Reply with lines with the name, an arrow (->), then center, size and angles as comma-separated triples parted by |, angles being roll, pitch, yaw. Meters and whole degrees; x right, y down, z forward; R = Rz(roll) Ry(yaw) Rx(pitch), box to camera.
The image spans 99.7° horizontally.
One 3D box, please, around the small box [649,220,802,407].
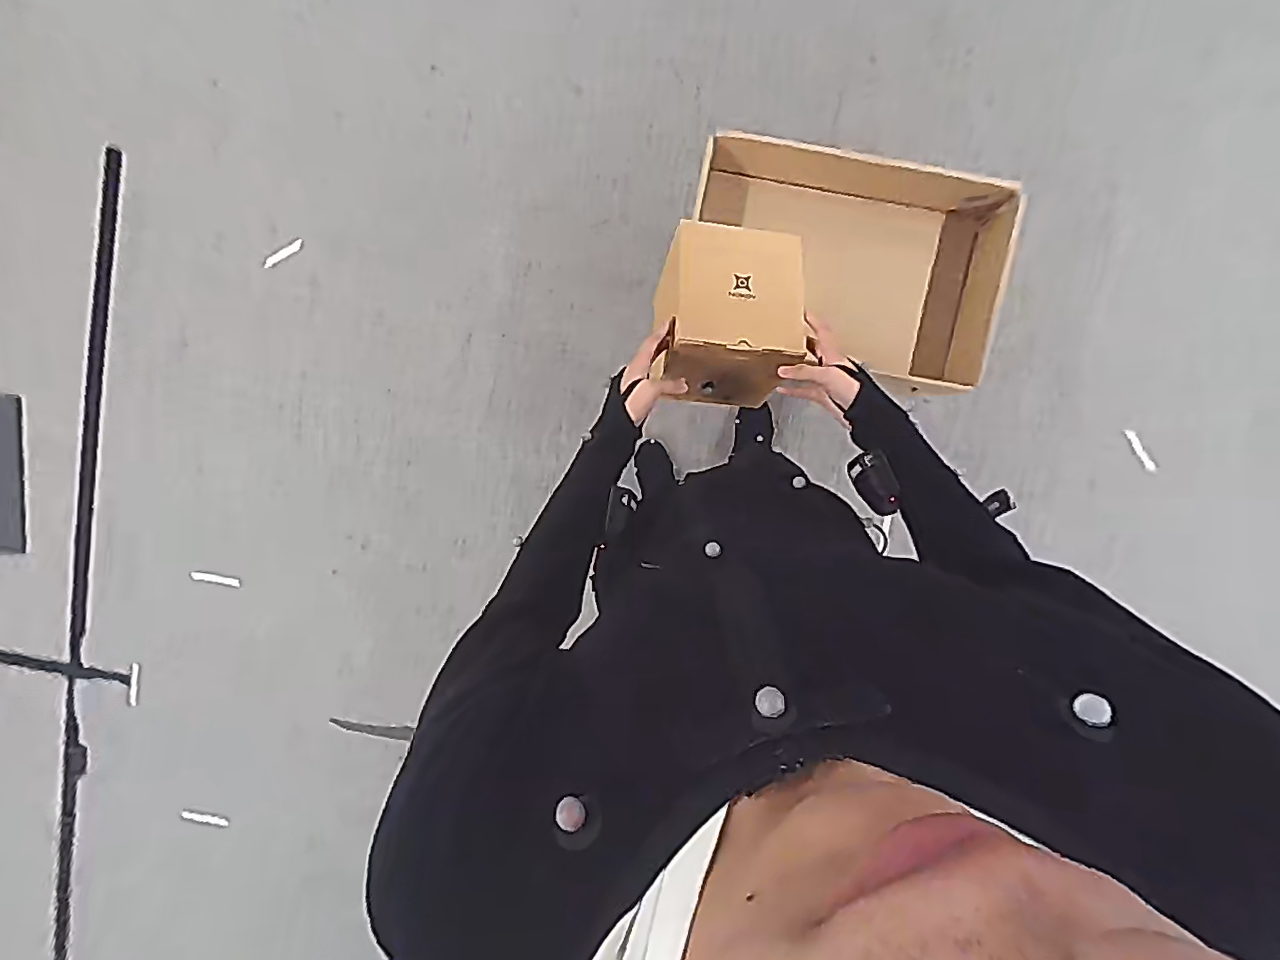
small box -> 0.107, -0.220, 0.749 | 0.168, 0.176, 0.179 | 3, 75, -9
